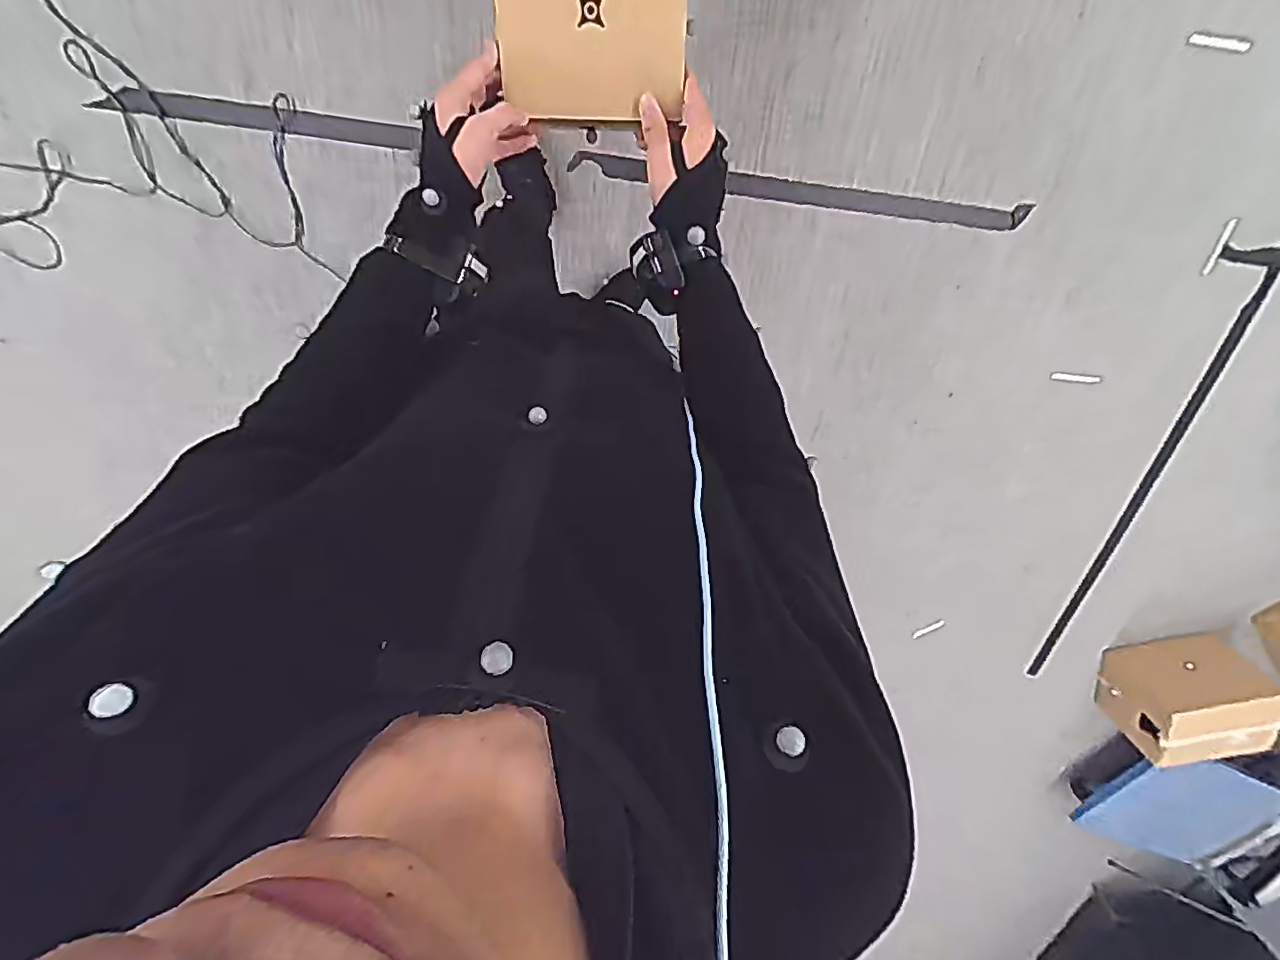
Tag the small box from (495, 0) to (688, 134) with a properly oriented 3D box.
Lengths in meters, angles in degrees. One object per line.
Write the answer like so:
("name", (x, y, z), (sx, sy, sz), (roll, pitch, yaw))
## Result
("small box", (-0.042, -0.443, 0.522), (0.168, 0.176, 0.179), (0, 120, -3))
